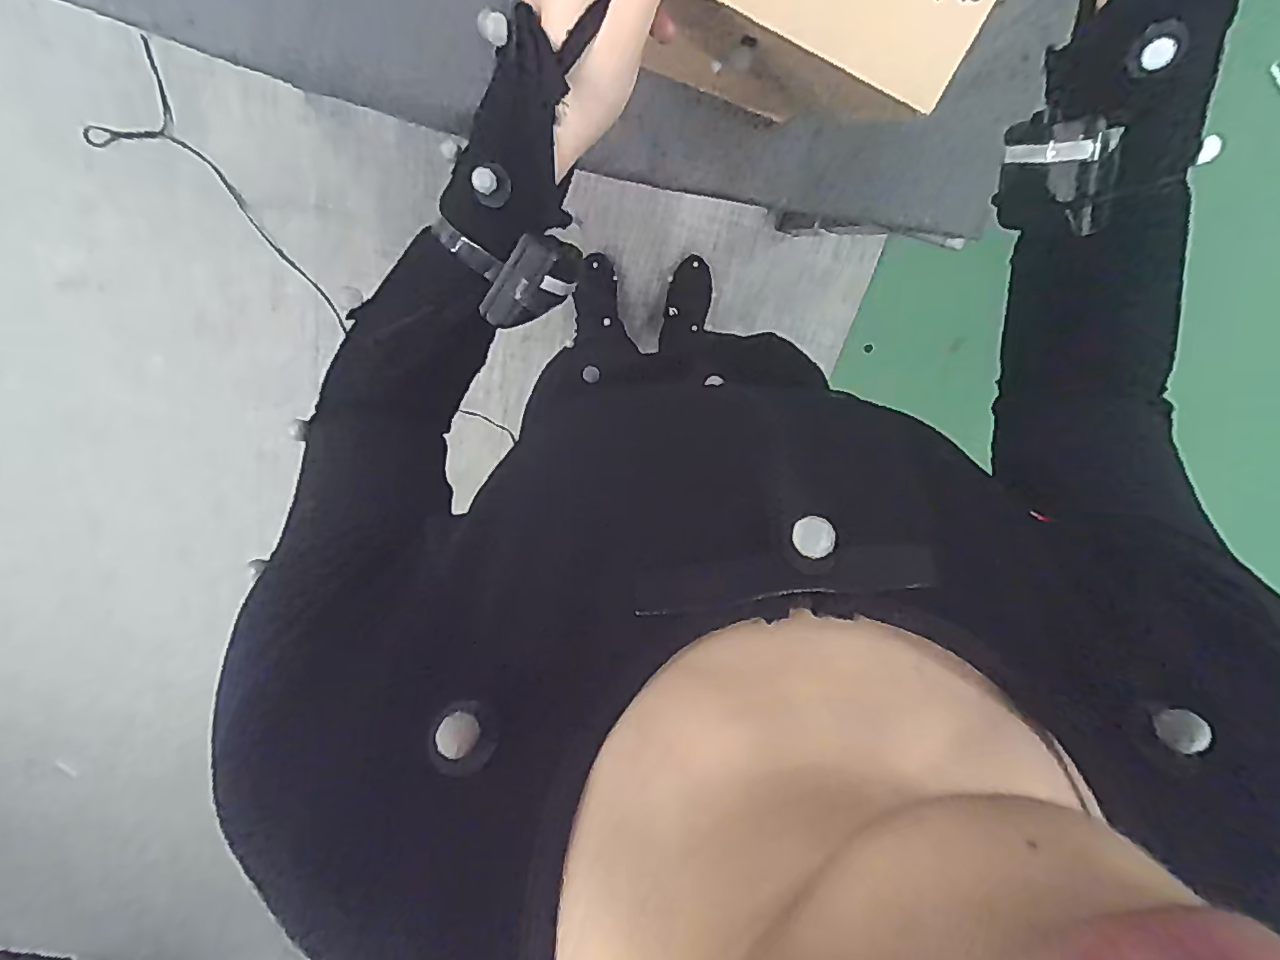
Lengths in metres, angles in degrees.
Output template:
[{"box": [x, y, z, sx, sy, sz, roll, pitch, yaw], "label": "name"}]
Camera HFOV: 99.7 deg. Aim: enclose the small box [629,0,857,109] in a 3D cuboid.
[{"box": [0.093, -0.450, 0.463, 0.179, 0.176, 0.168, 16, 113, -8], "label": "small box"}]
